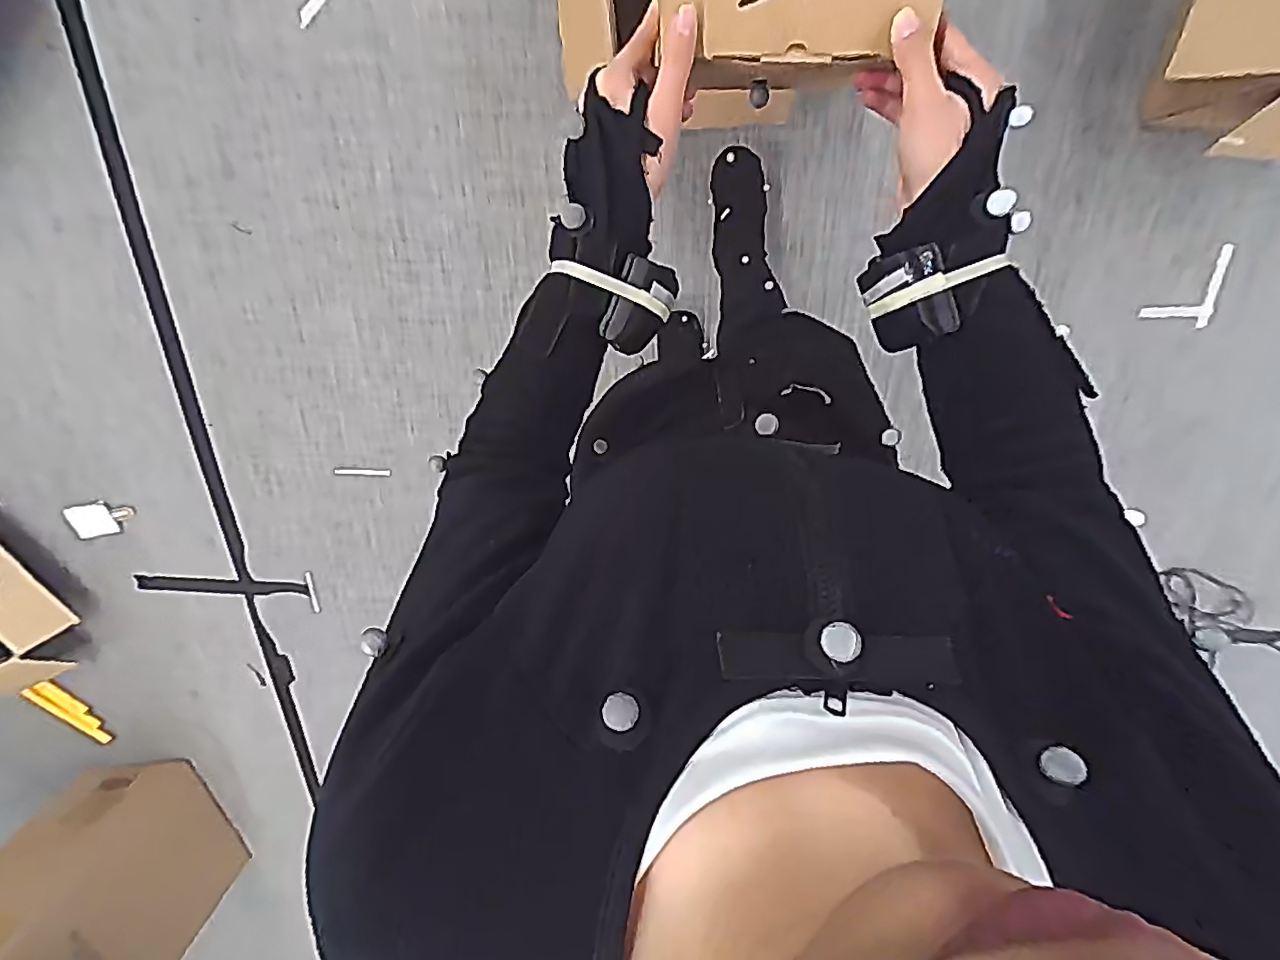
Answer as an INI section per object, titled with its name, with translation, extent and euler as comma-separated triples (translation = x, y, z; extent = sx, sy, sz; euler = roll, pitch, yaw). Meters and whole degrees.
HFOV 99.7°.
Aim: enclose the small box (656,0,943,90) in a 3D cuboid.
[small box]
translation = 0.095, -0.375, 0.354
extent = 0.168, 0.176, 0.179
euler = 0, 120, 1
